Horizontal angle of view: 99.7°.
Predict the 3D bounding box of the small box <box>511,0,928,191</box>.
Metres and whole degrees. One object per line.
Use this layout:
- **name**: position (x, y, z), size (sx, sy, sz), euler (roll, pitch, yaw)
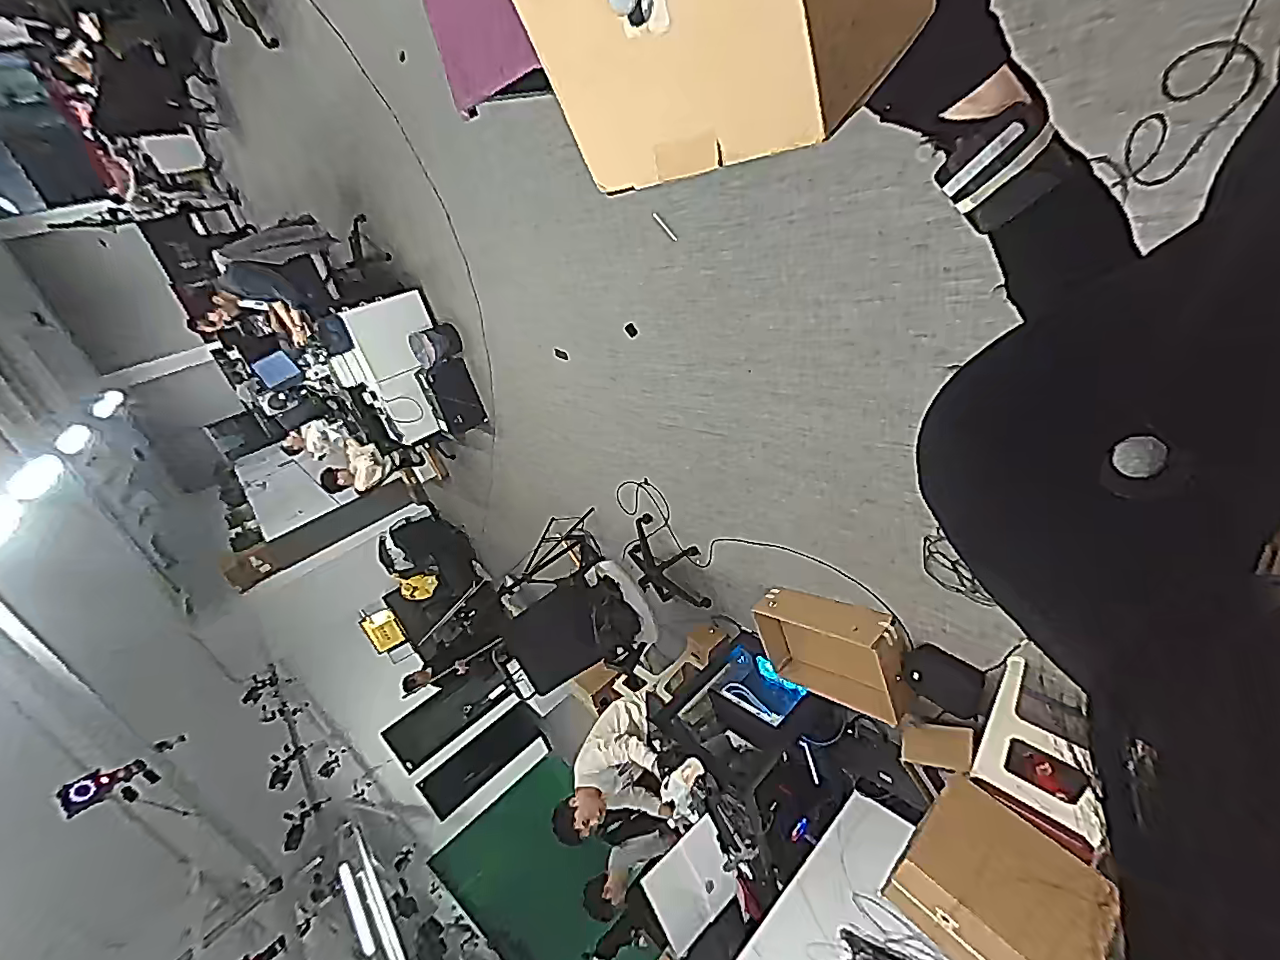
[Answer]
- **small box**: position (0.036, -0.295, 0.291), size (0.168, 0.179, 0.176), euler (15, 149, 41)
